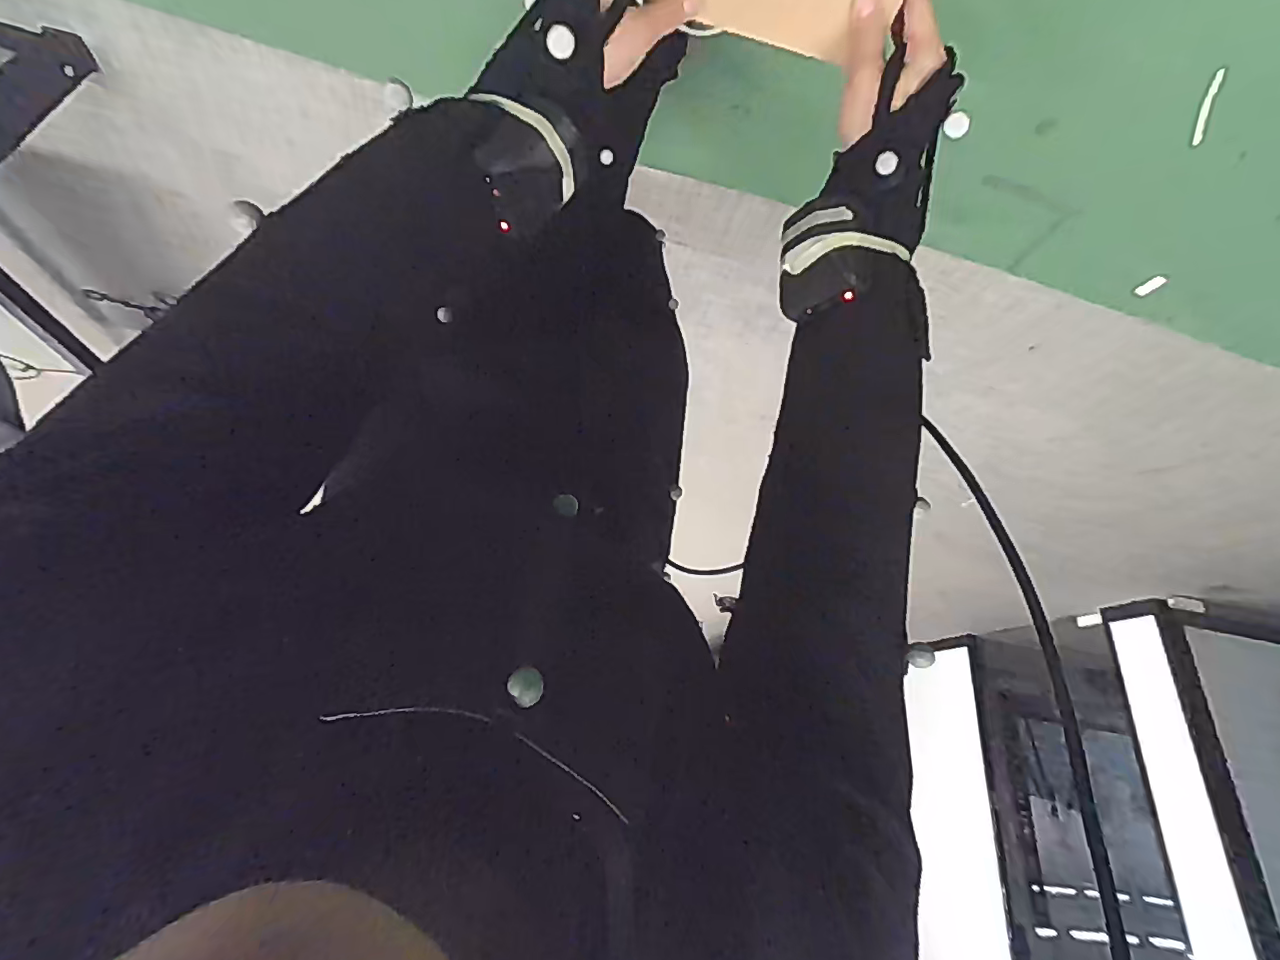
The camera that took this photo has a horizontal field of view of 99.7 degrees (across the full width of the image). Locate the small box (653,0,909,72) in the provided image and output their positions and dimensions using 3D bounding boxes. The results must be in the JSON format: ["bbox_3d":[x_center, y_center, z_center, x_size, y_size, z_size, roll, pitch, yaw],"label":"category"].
[{"bbox_3d":[0.113,-0.412,0.336,0.168,0.176,0.179,14,152,-3],"label":"small box"}]
